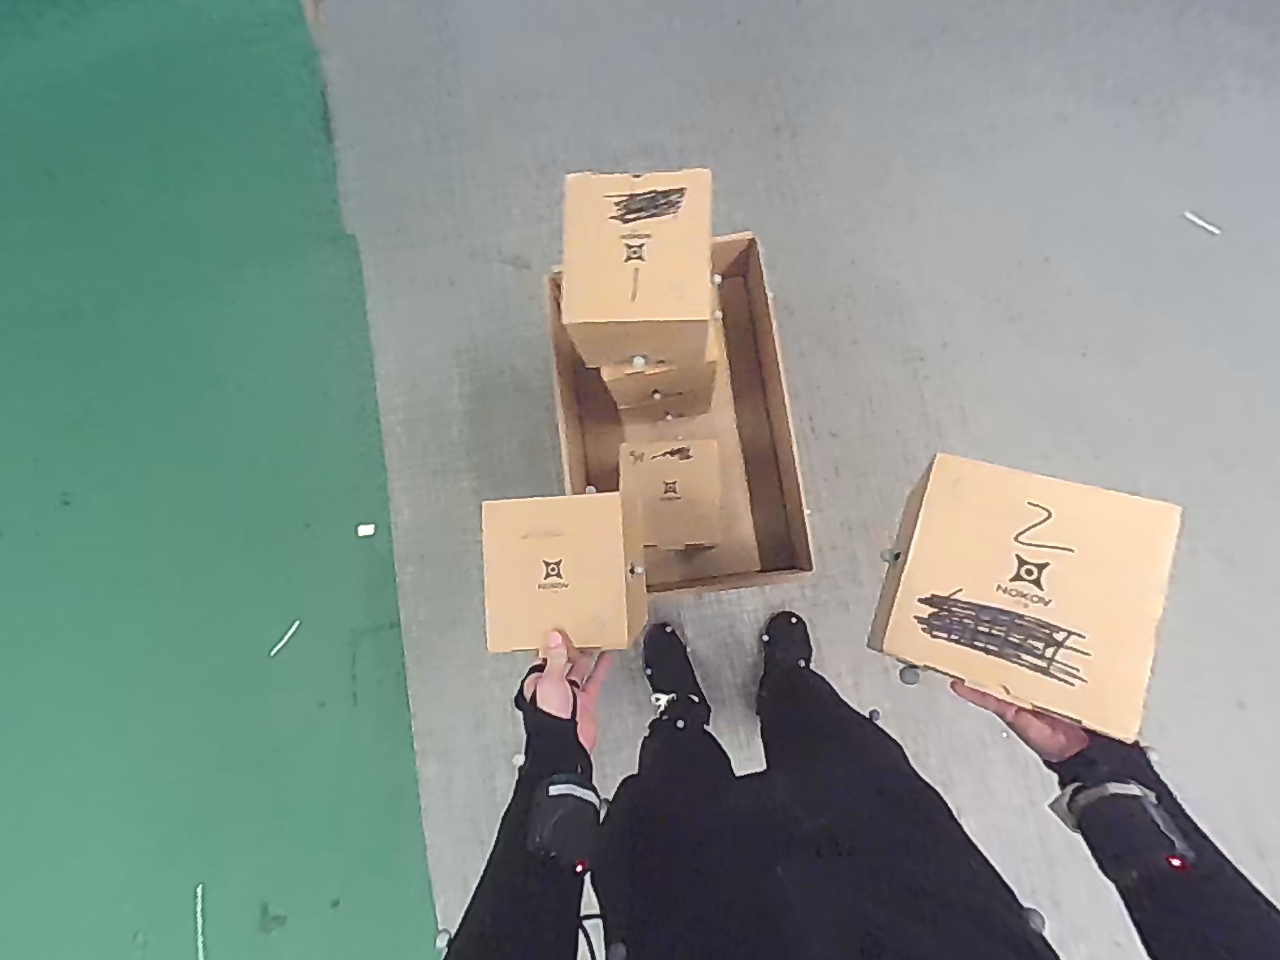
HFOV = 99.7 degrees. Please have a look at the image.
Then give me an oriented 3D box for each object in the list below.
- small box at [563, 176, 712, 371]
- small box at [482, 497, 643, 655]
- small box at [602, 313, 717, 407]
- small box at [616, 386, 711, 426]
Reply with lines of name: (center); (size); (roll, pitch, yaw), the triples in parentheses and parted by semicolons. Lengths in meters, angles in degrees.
small box: (0.003, -0.248, 0.682); (0.168, 0.176, 0.179); (0, 85, 5)
small box: (-0.089, 0.113, 0.692); (0.168, 0.176, 0.179); (-3, 86, 7)
small box: (0.021, -0.227, 0.844); (0.168, 0.176, 0.179); (-9, 84, 3)
small box: (0.036, -0.212, 1.004); (0.168, 0.176, 0.179); (-9, 84, 5)
